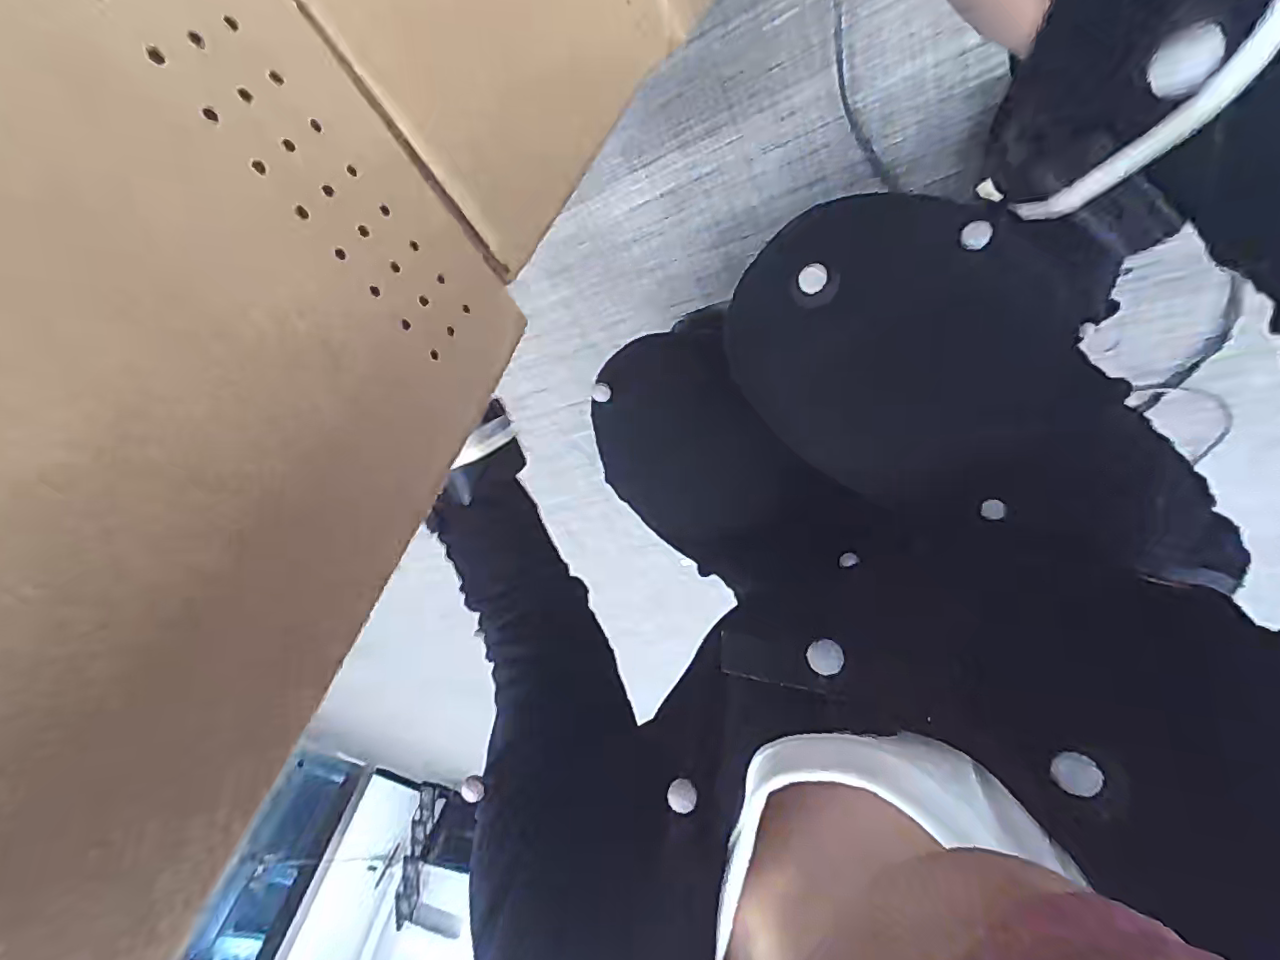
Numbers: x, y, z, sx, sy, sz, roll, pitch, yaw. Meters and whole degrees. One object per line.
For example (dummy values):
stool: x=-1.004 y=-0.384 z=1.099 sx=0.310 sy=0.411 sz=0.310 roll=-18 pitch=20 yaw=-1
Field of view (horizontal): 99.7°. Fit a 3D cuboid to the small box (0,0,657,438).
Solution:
small box: x=-0.115 y=-0.141 z=0.134 sx=0.168 sy=0.176 sz=0.179 roll=-10 pitch=137 yaw=31
